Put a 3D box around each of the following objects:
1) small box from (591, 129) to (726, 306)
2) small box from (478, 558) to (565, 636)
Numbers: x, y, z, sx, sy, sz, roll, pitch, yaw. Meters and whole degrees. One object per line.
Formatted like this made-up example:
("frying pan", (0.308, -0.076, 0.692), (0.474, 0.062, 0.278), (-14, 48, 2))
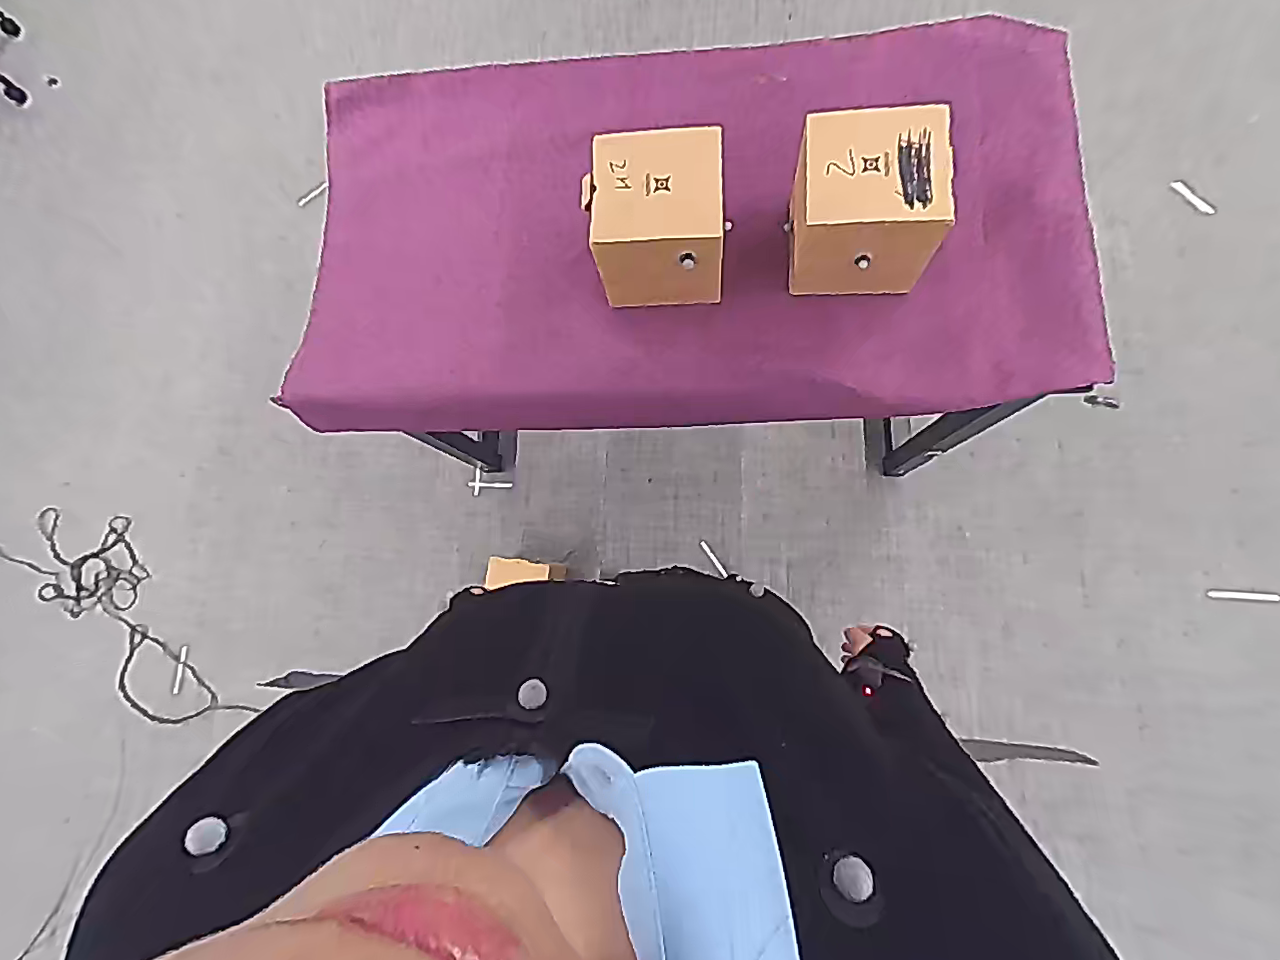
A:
("small box", (0.033, -0.369, 0.788), (0.179, 0.176, 0.168), (0, 78, 7))
("small box", (-0.310, 0.309, 1.453), (0.168, 0.176, 0.179), (7, 80, 8))
